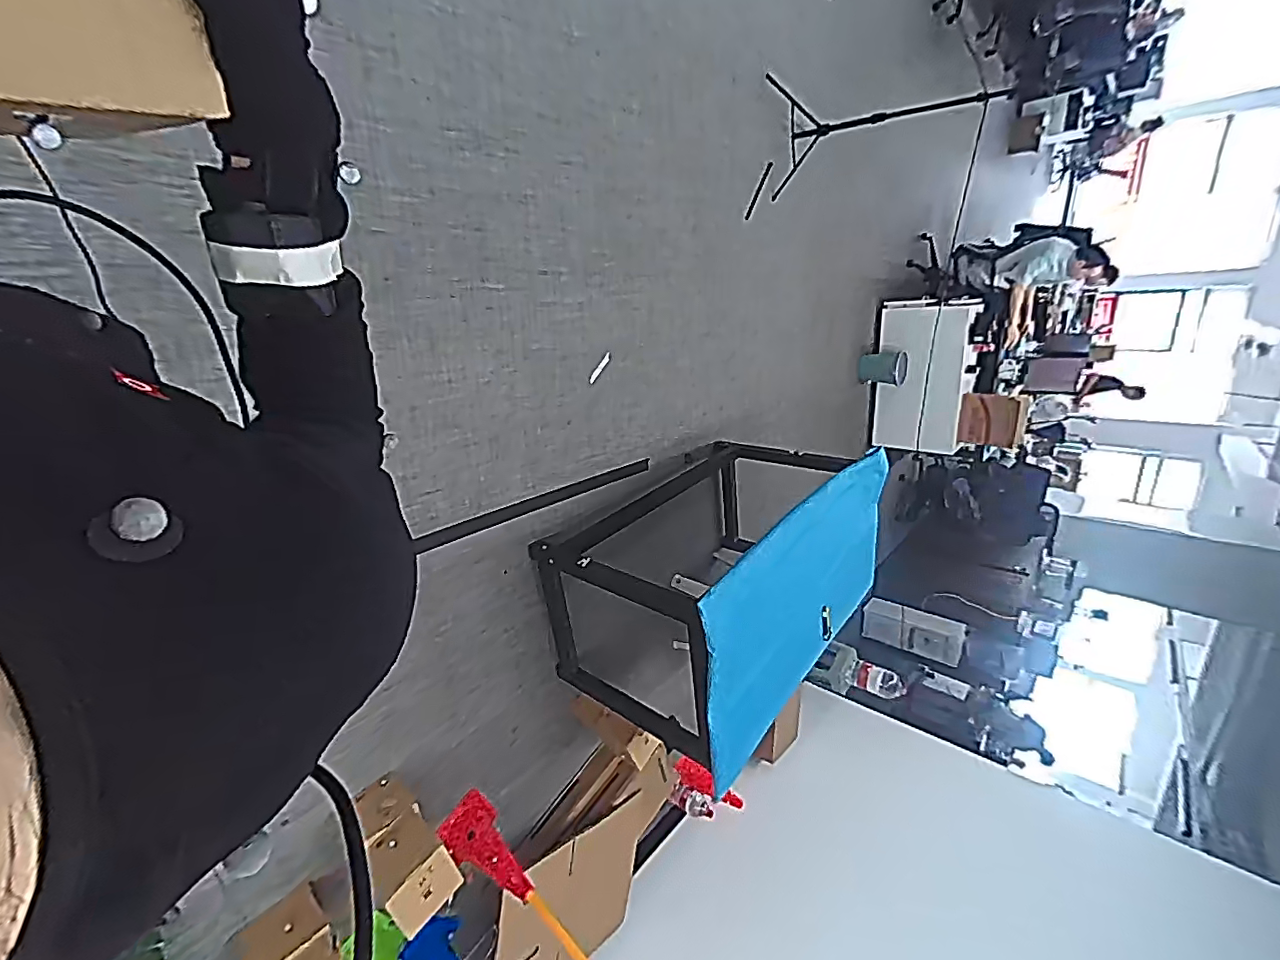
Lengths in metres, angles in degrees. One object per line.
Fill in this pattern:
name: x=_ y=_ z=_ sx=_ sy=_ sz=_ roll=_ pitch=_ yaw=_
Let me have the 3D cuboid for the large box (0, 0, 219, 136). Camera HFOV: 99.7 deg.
large box: x=-0.467 y=-0.305 z=0.178 sx=0.408 sy=0.320 sz=0.320 roll=-28 pitch=129 yaw=-42
